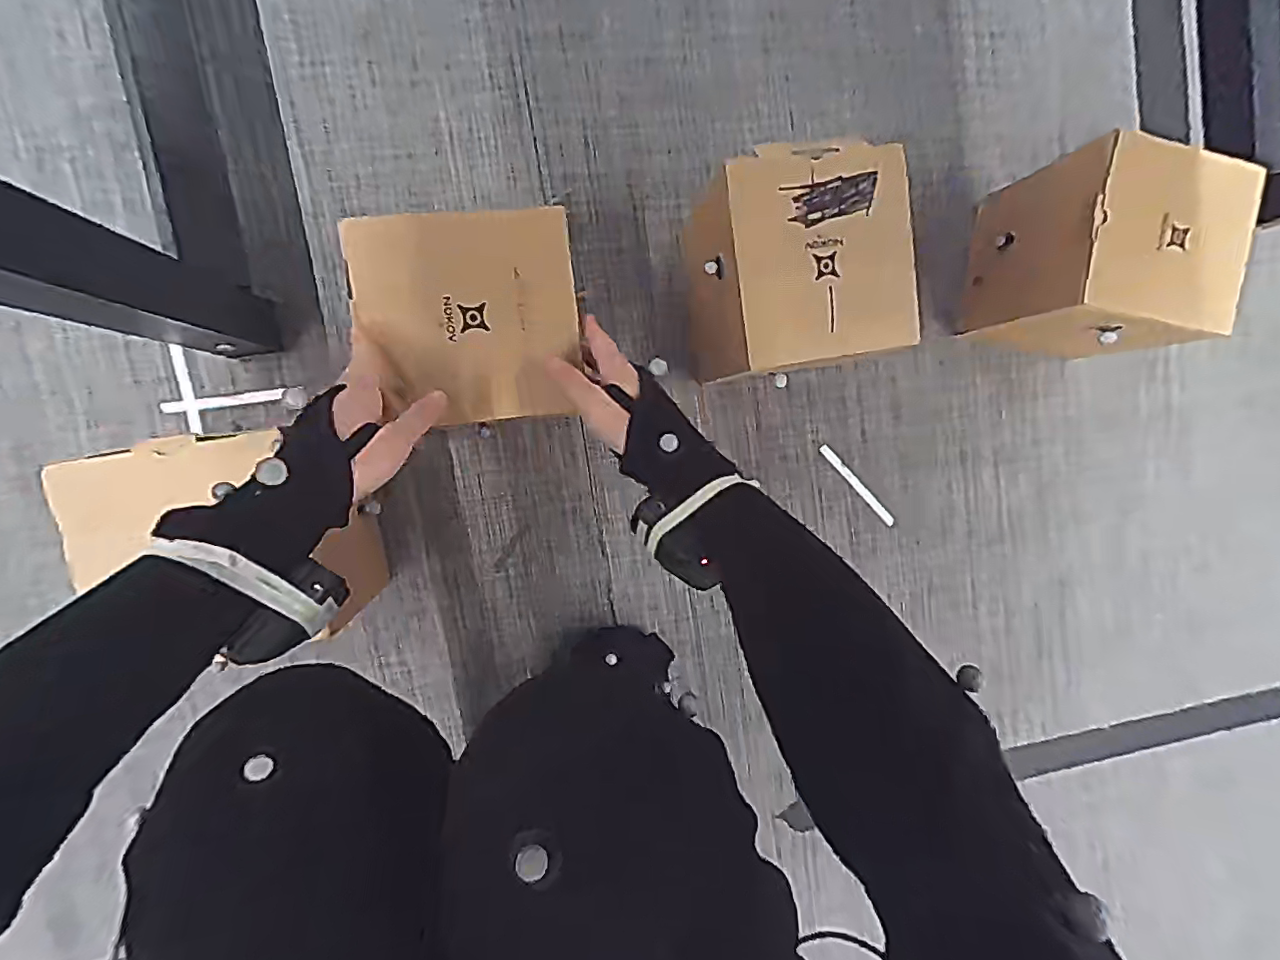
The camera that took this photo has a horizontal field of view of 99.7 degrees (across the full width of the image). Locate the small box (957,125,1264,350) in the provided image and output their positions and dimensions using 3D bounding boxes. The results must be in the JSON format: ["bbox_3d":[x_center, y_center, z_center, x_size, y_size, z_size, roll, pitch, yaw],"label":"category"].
[{"bbox_3d":[0.498,-0.245,0.597,0.179,0.176,0.168,8,94,-8],"label":"small box"}]

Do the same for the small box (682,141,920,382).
[{"bbox_3d":[0.148,-0.204,0.545,0.168,0.176,0.179,-10,97,-7],"label":"small box"}]

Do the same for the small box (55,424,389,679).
[{"bbox_3d":[-0.350,0.050,0.493,0.168,0.176,0.179,-10,95,-8],"label":"small box"}]
